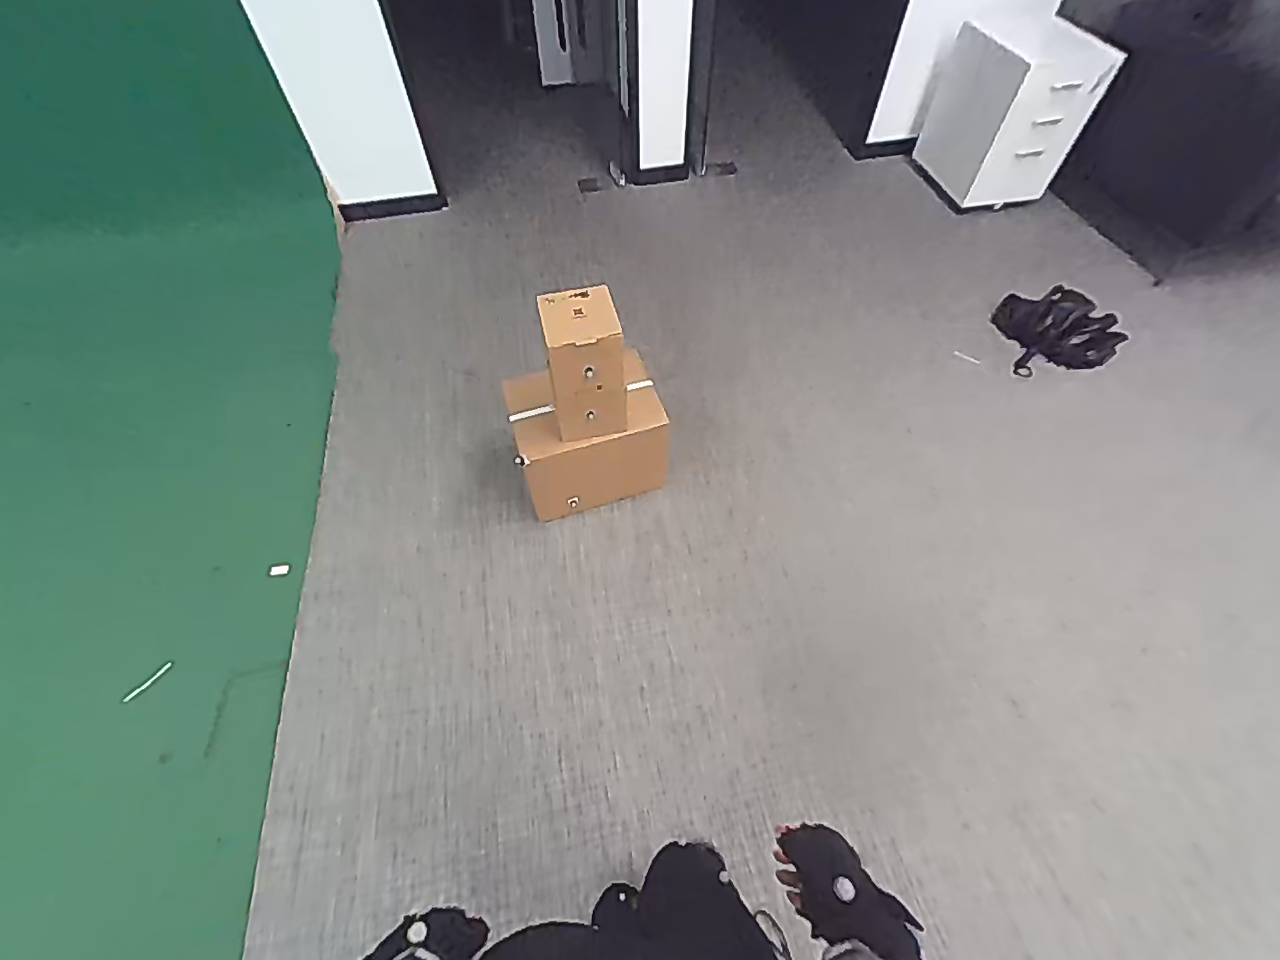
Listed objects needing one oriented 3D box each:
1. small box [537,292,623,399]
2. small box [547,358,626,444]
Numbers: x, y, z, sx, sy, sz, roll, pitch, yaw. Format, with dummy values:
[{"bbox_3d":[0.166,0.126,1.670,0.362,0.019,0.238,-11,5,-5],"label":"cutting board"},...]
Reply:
[{"bbox_3d":[-0.136,-0.307,1.267,0.168,0.176,0.179,-12,57,-7],"label":"small box"},{"bbox_3d":[-0.135,-0.215,1.402,0.179,0.176,0.168,-12,57,-7],"label":"small box"}]
